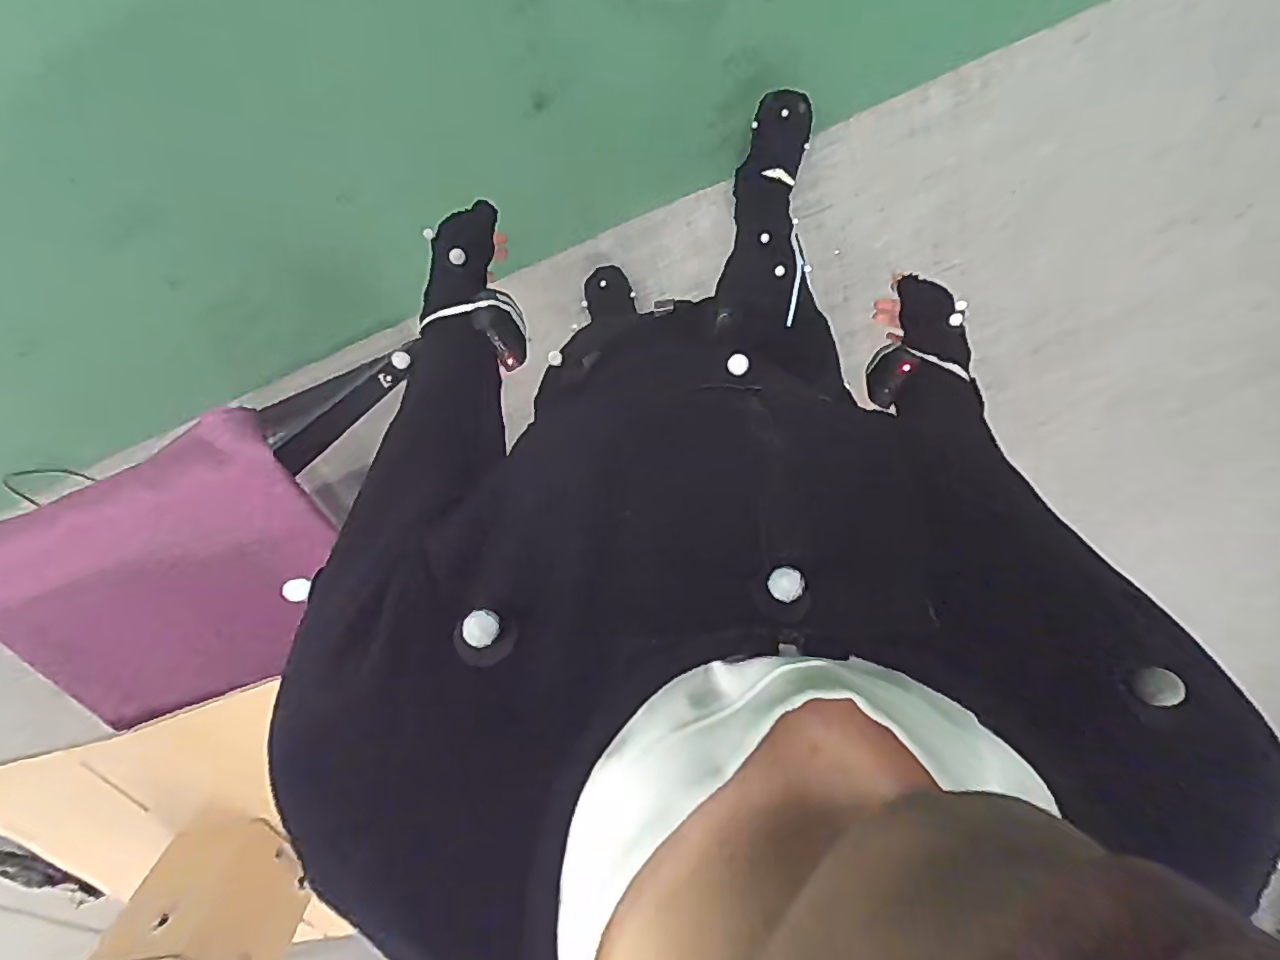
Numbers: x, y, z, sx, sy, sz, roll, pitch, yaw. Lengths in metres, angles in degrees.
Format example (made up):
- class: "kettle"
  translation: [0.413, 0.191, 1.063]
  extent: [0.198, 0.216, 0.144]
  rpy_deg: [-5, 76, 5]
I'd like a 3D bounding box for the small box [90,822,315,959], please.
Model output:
- class: "small box"
  translation: [-0.633, 0.646, 0.815]
  extent: [0.179, 0.176, 0.168]
  rpy_deg: [-16, 118, 11]
